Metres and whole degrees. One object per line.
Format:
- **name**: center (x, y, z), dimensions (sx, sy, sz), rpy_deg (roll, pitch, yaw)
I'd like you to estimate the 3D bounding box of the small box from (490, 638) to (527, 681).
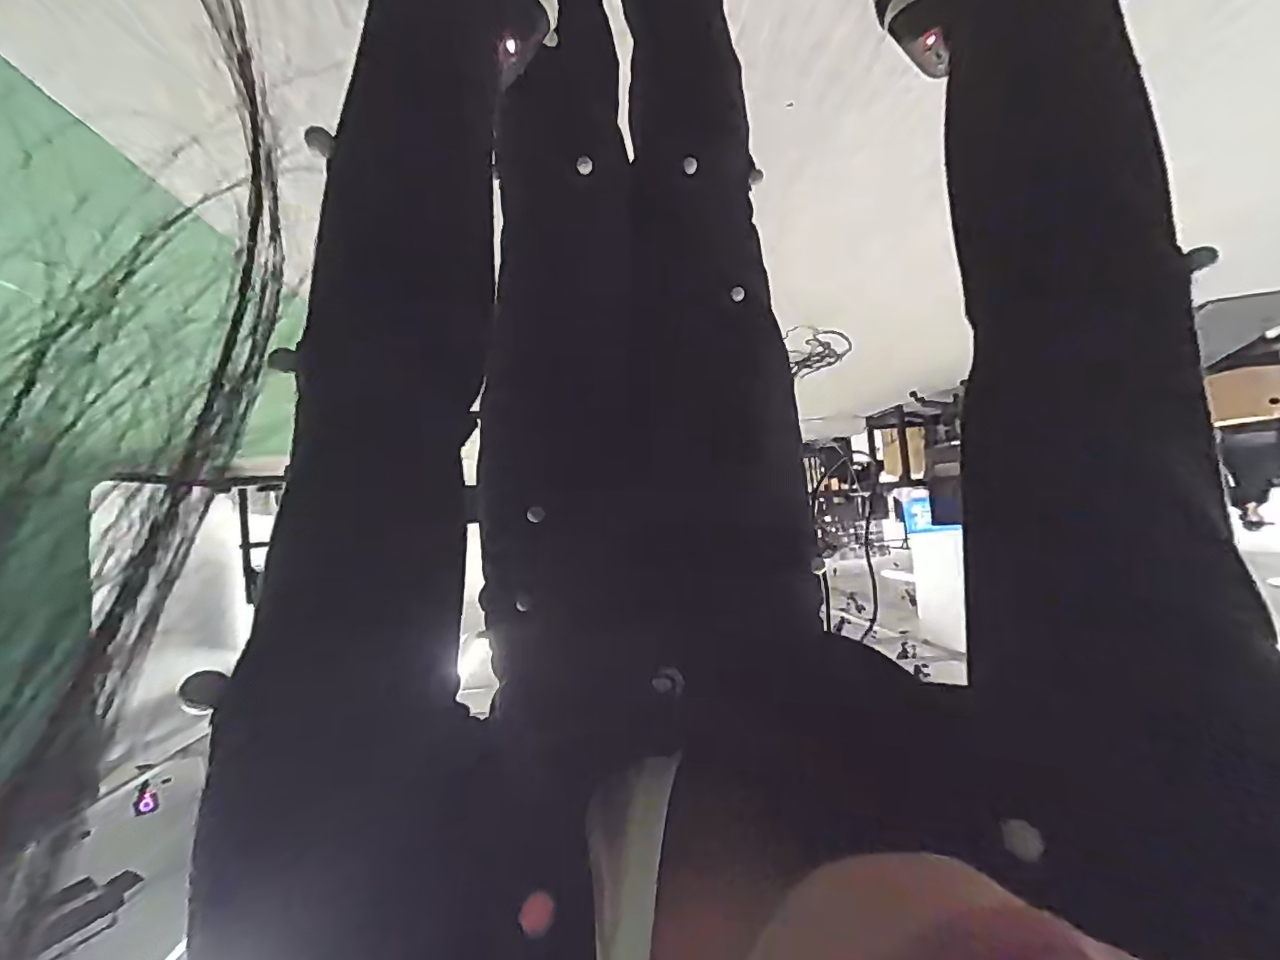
- **small box**: center (-0.654, 0.892, 2.702), dimensions (0.168, 0.176, 0.179), rpy_deg (-2, 175, -6)
